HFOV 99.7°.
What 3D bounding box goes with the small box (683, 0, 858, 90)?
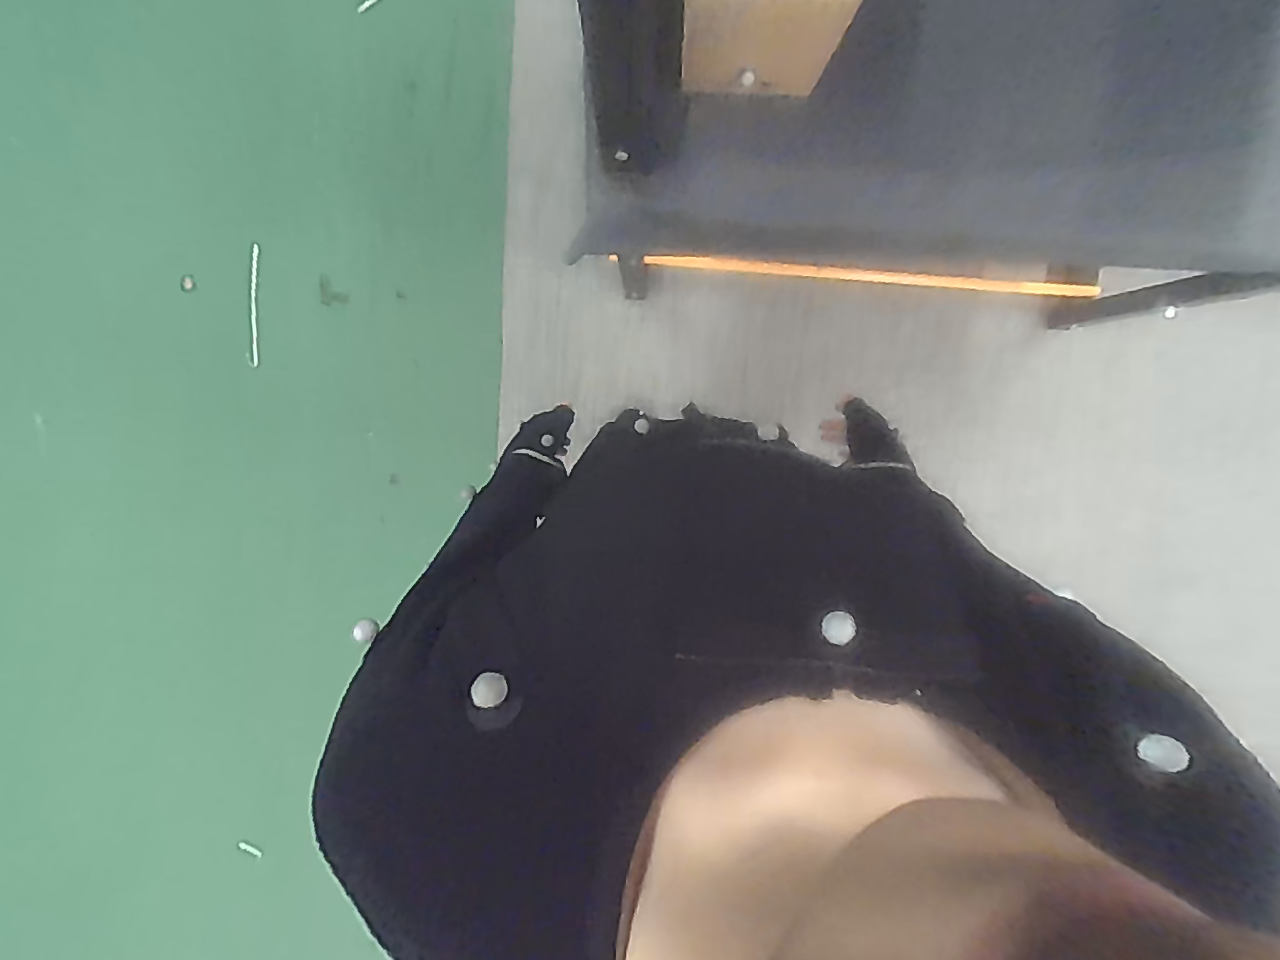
[{"bbox_3d":[0.135,-0.564,0.580,0.168,0.176,0.179,2,98,0],"label":"small box"}]
